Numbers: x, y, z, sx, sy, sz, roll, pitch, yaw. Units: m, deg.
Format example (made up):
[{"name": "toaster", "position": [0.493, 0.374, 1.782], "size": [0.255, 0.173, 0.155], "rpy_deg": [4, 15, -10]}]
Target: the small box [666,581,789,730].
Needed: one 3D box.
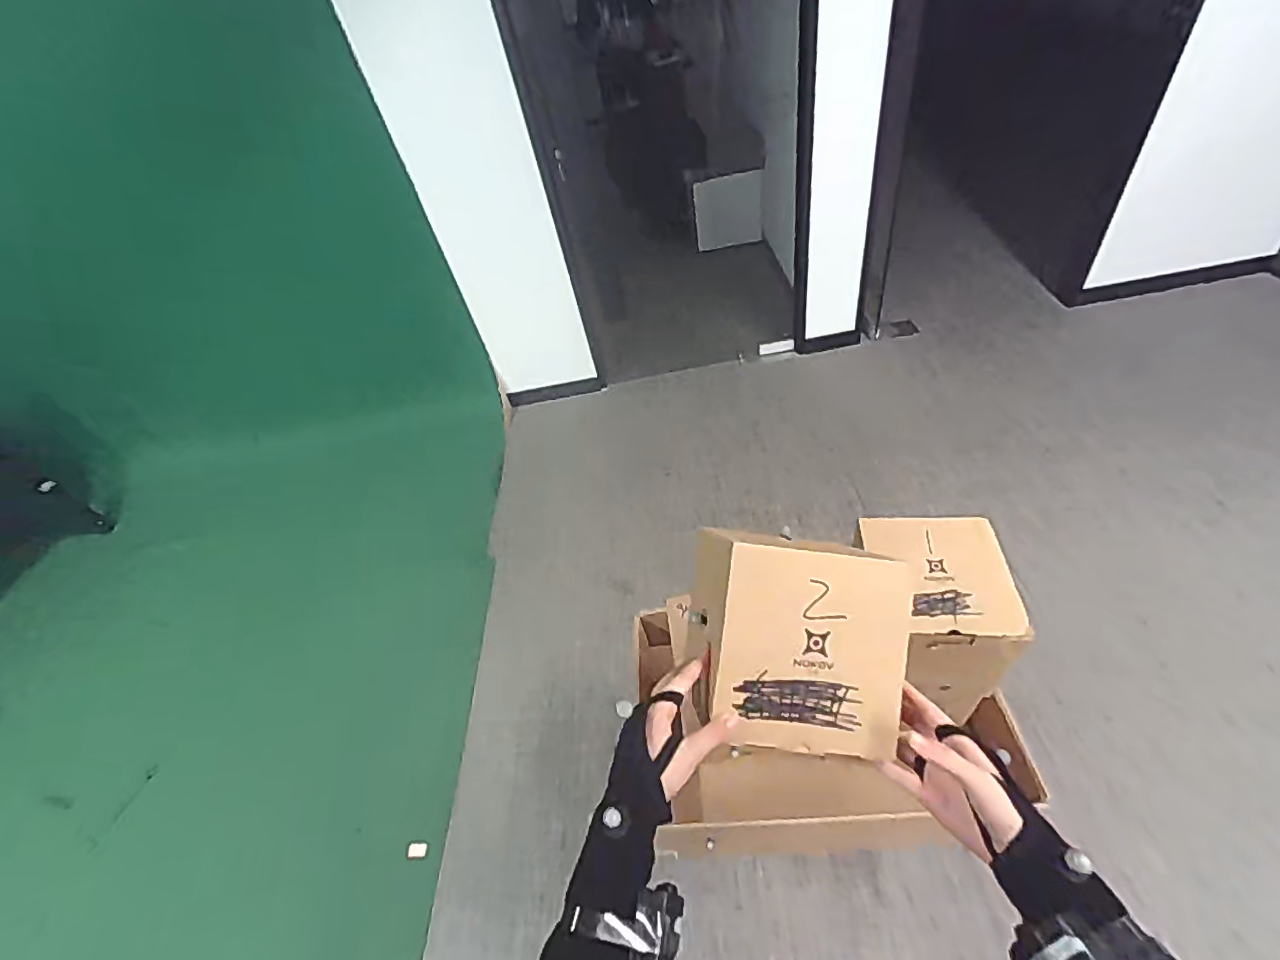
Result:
[{"name": "small box", "position": [0.141, 0.293, 0.885], "size": [0.168, 0.176, 0.179], "rpy_deg": [-9, 46, 4]}]

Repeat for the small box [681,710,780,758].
[{"name": "small box", "position": [0.160, 0.395, 1.013], "size": [0.168, 0.176, 0.179], "rpy_deg": [-10, 46, 4]}]

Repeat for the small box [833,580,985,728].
[{"name": "small box", "position": [0.404, 0.273, 0.846], "size": [0.168, 0.176, 0.179], "rpy_deg": [-3, 47, 10]}]

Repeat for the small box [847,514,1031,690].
[{"name": "small box", "position": [0.380, 0.164, 0.726], "size": [0.168, 0.176, 0.179], "rpy_deg": [-1, 46, 12]}]
